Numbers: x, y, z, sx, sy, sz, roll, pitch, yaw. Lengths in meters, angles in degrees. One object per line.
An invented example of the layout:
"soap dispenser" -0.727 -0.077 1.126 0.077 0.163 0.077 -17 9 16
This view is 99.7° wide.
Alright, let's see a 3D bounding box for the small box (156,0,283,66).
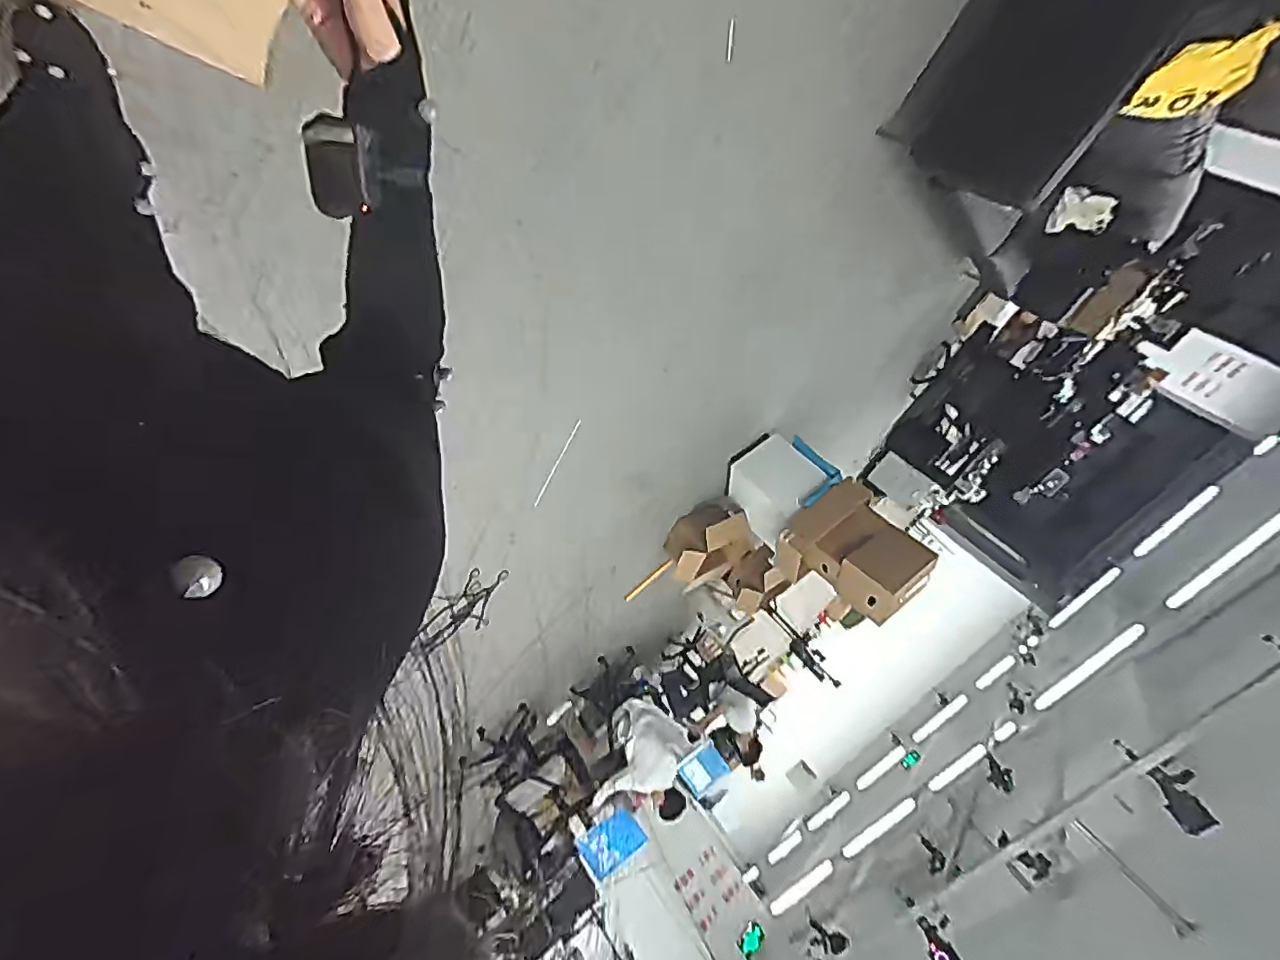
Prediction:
"small box" -0.571 -0.693 0.687 0.179 0.176 0.168 -51 152 15
